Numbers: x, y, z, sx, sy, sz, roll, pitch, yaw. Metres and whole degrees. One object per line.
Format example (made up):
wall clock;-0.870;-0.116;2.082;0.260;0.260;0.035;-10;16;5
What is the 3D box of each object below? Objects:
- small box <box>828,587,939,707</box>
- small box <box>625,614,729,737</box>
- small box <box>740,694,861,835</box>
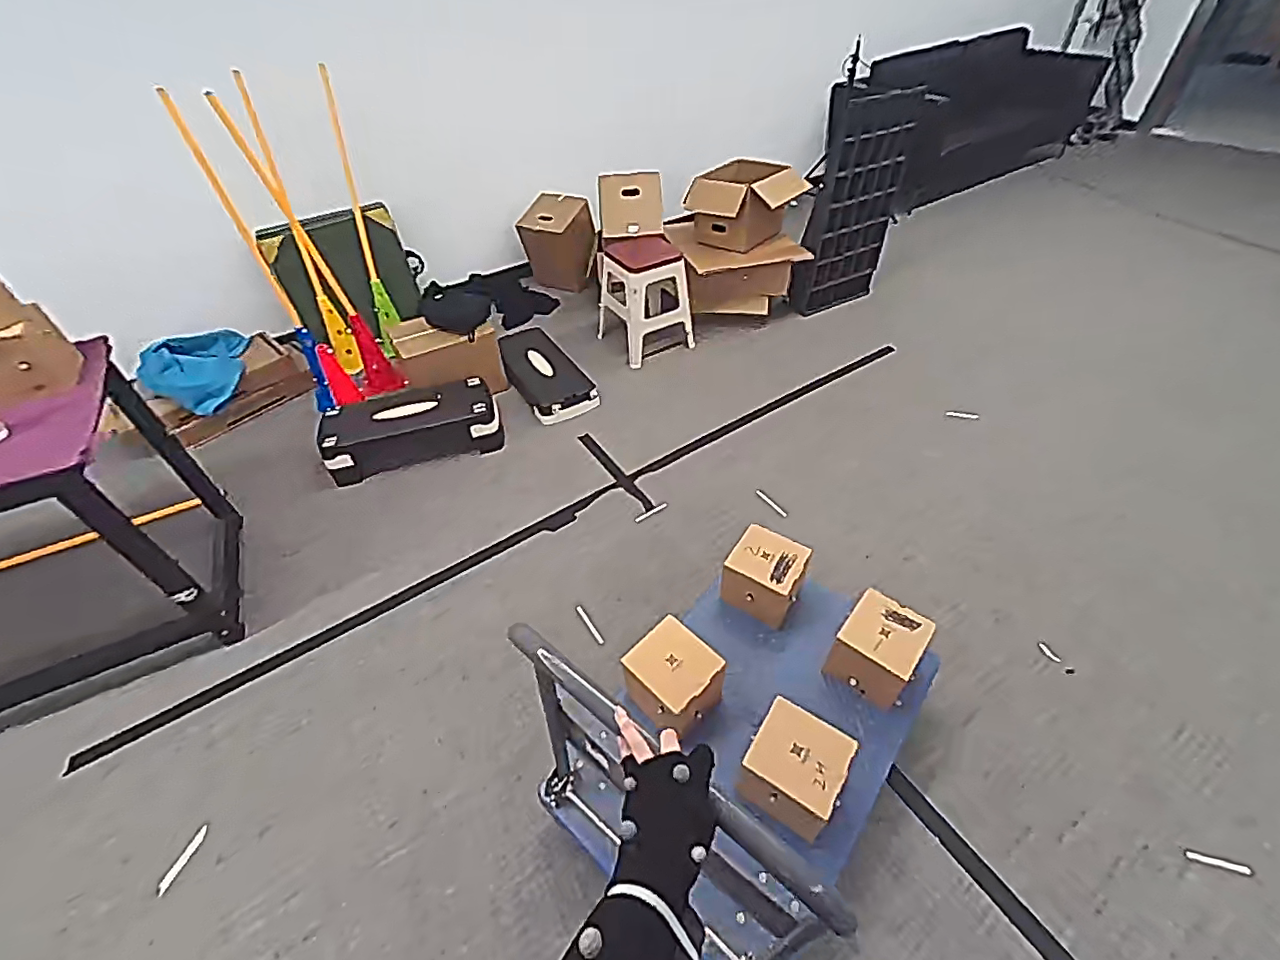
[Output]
small box;0.569;0.396;1.283;0.168;0.176;0.179;31;55;29
small box;0.081;0.455;1.252;0.179;0.176;0.168;35;56;30
small box;0.320;0.585;1.107;0.179;0.176;0.168;26;52;26
